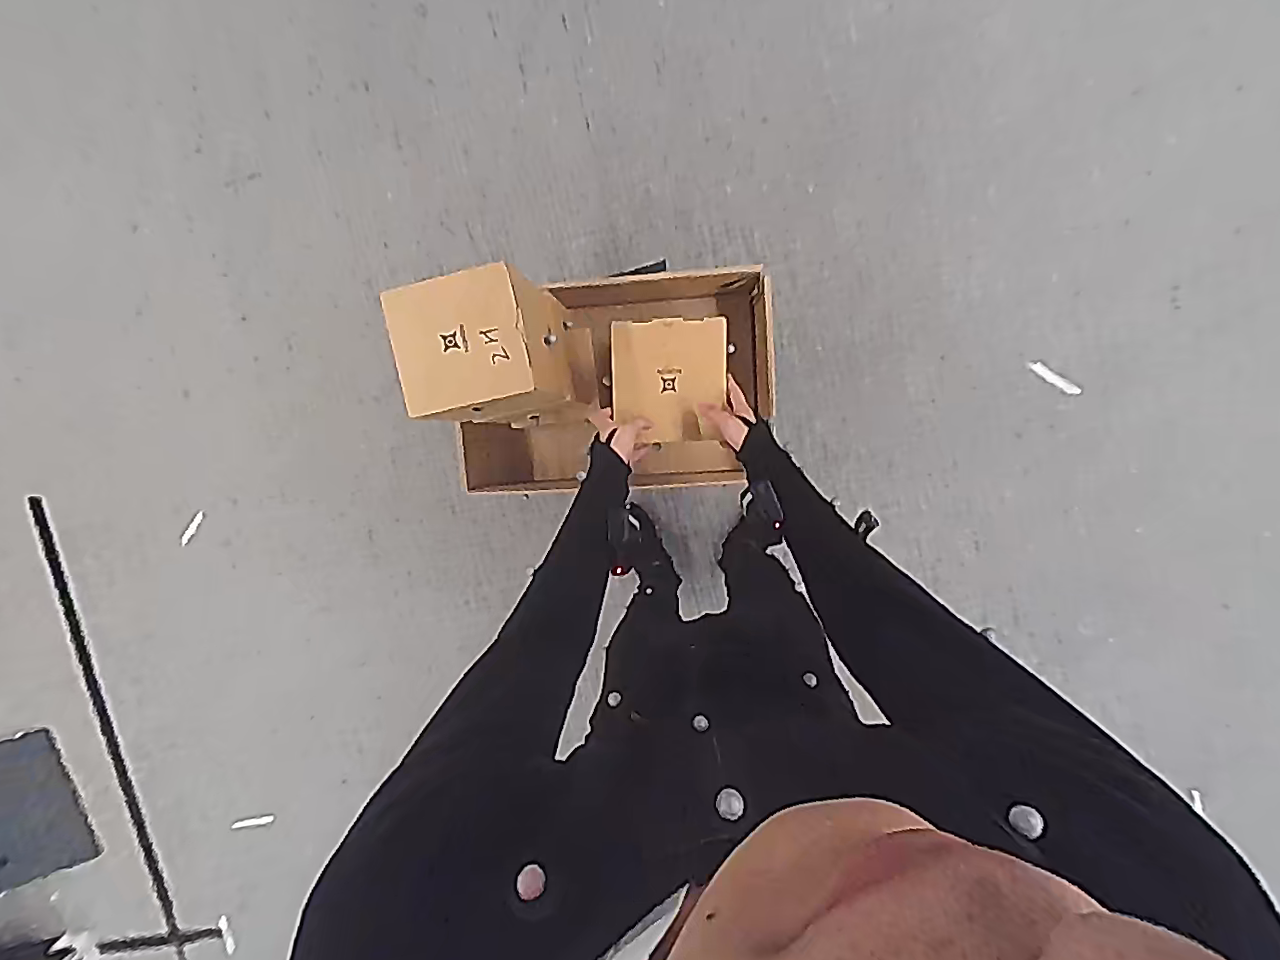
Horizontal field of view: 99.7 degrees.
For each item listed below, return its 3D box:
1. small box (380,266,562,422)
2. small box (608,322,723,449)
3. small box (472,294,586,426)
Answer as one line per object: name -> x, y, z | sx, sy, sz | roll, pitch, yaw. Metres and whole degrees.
small box -> -0.226, -0.177, 0.763 | 0.179, 0.176, 0.168 | -11, 94, 6
small box -> 0.043, -0.140, 0.848 | 0.168, 0.176, 0.179 | -1, 94, 4
small box -> -0.200, -0.194, 0.924 | 0.168, 0.176, 0.179 | -12, 93, 6
